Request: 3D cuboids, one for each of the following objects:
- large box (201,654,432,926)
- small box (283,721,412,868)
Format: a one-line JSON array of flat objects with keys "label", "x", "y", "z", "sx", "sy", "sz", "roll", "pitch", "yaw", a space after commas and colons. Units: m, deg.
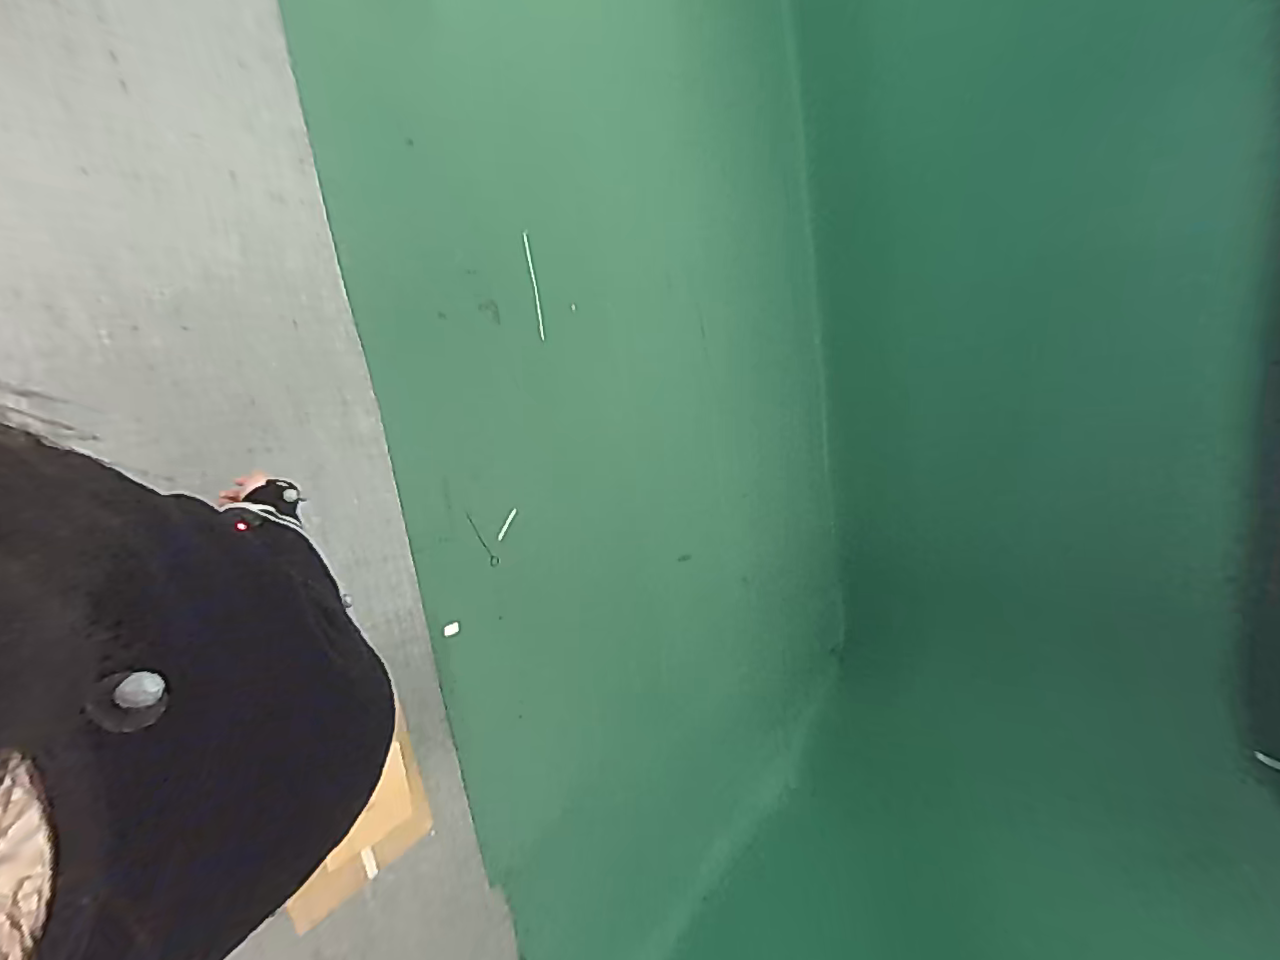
[{"label": "large box", "x": -0.754, "y": 0.692, "z": 1.277, "sx": 0.320, "sy": 0.320, "sz": 0.408, "roll": -22, "pitch": 108, "yaw": -47}, {"label": "small box", "x": -0.590, "y": 0.614, "z": 1.090, "sx": 0.168, "sy": 0.176, "sz": 0.179, "roll": -17, "pitch": 105, "yaw": -47}]
